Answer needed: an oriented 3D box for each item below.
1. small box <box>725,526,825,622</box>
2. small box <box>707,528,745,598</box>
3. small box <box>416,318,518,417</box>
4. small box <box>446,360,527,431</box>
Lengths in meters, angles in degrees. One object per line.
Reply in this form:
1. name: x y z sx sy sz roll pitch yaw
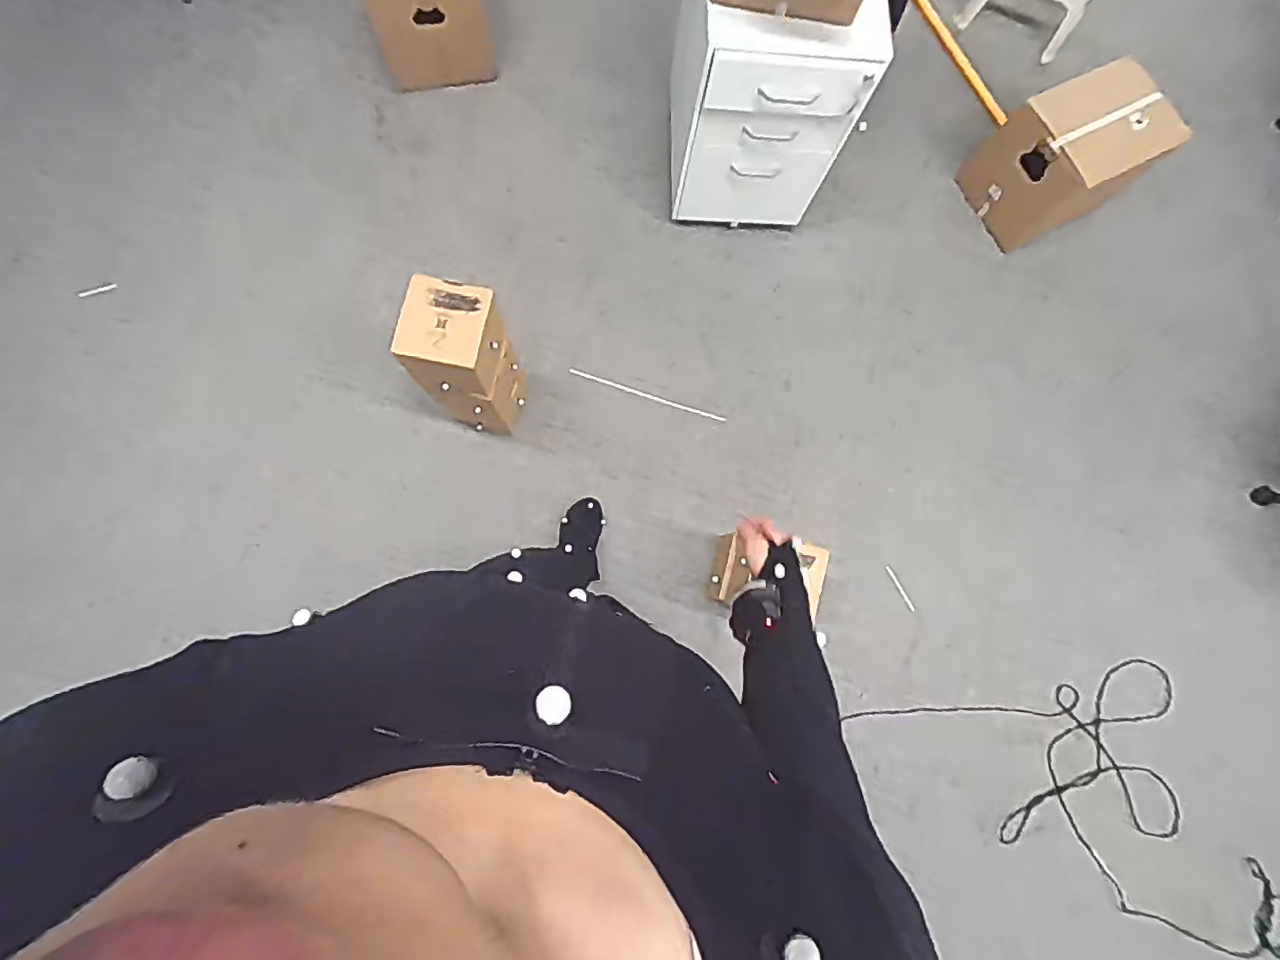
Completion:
1. small box: 0.310 0.219 1.274 0.168 0.176 0.179 16 81 -1
2. small box: 0.284 0.237 1.436 0.168 0.176 0.179 16 79 -2
3. small box: -0.409 -0.263 1.312 0.179 0.176 0.168 13 78 0
4. small box: -0.419 -0.245 1.474 0.179 0.176 0.168 16 79 -2
